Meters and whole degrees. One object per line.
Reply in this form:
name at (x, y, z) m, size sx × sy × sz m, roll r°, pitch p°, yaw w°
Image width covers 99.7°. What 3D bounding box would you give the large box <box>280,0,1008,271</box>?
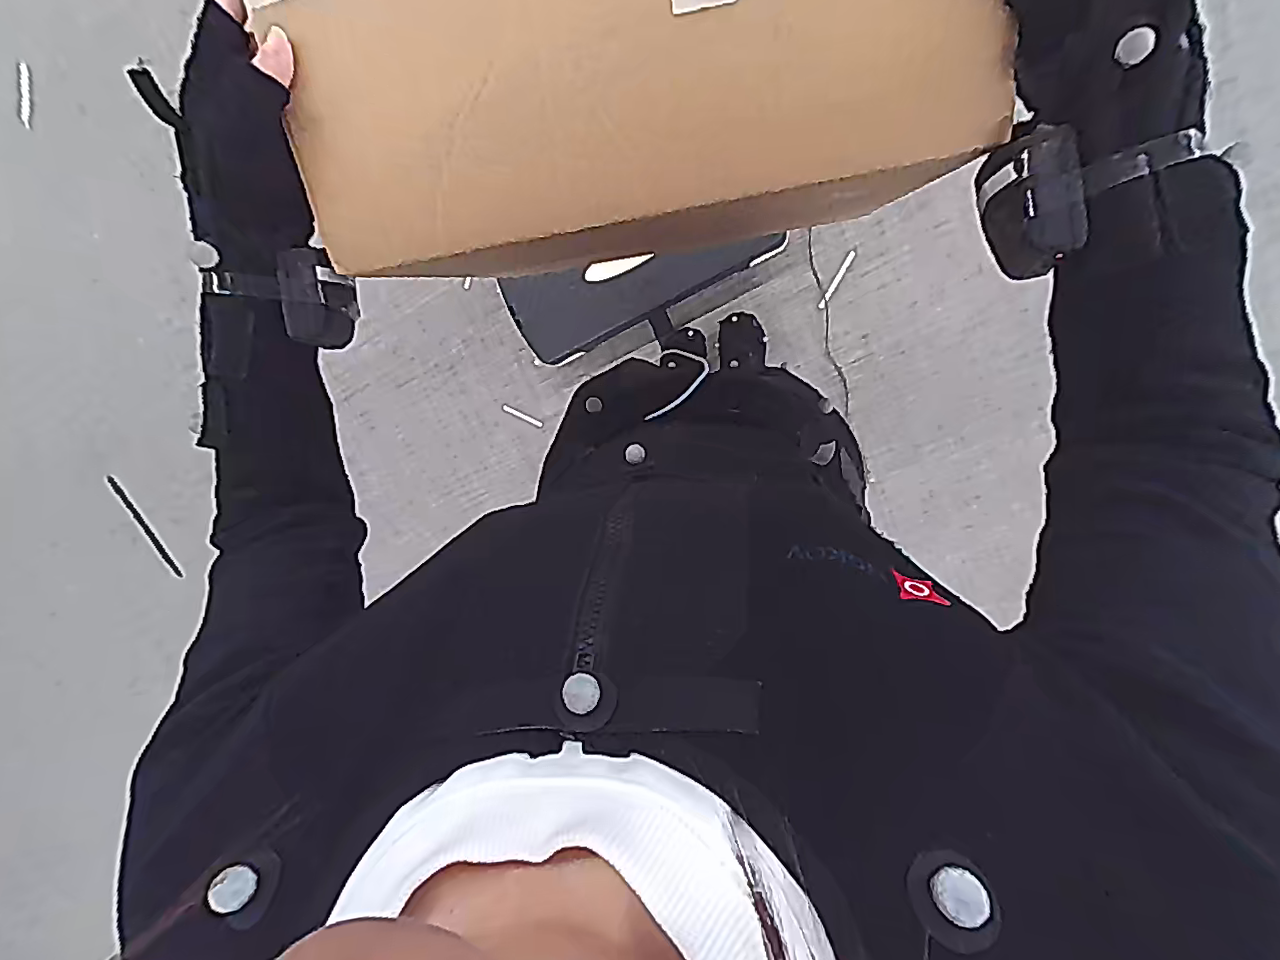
large box at (-0.001, -0.361, 0.420) m, size 0.408 × 0.320 × 0.320 m, roll -6°, pitch 110°, yaw 11°
